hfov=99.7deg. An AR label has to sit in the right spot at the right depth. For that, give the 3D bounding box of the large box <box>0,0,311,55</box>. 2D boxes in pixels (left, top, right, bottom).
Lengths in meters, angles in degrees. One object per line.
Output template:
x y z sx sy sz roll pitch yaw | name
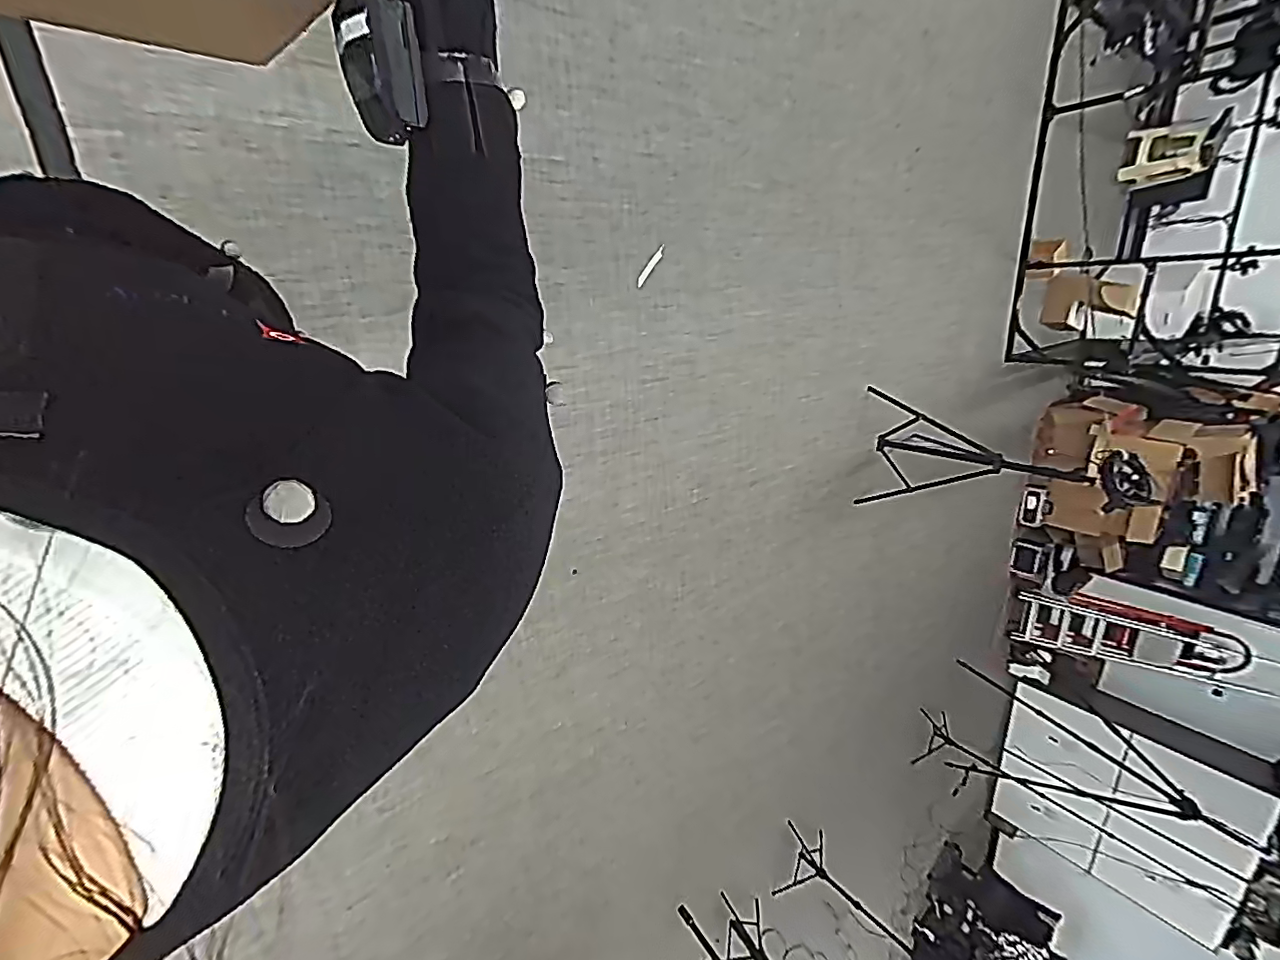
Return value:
-0.396 -0.419 0.212 0.408 0.320 0.320 -17 124 -37 | large box
